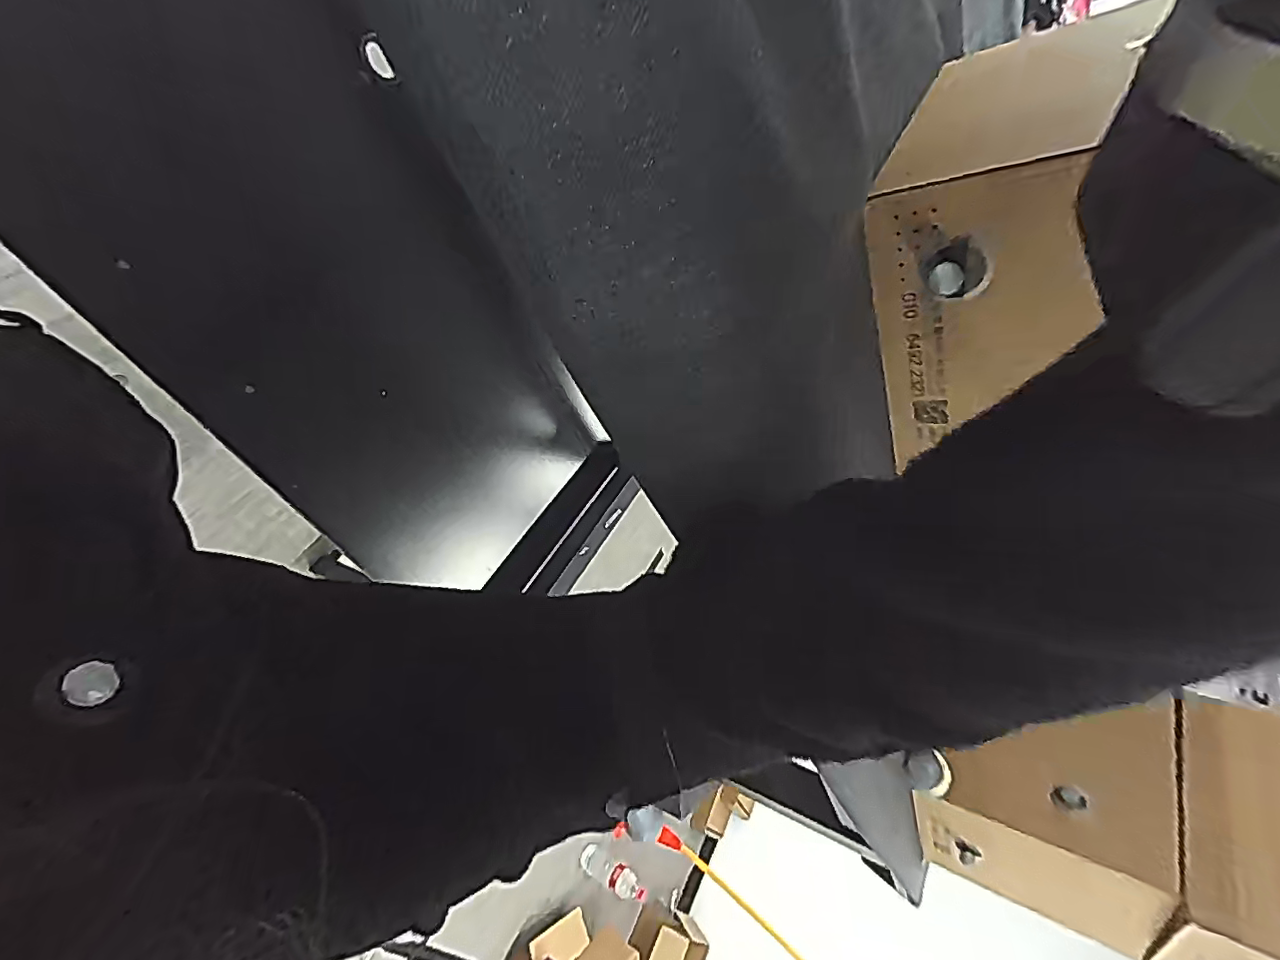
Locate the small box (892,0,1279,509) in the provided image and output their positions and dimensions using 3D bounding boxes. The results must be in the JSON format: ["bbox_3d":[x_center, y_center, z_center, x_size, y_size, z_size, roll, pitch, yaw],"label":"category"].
[{"bbox_3d":[0.224,-0.102,0.254,0.179,0.176,0.168,-57,136,-33],"label":"small box"}]

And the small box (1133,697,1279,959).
[{"bbox_3d":[0.491,0.293,0.397,0.179,0.176,0.168,-53,133,-31],"label":"small box"}]
